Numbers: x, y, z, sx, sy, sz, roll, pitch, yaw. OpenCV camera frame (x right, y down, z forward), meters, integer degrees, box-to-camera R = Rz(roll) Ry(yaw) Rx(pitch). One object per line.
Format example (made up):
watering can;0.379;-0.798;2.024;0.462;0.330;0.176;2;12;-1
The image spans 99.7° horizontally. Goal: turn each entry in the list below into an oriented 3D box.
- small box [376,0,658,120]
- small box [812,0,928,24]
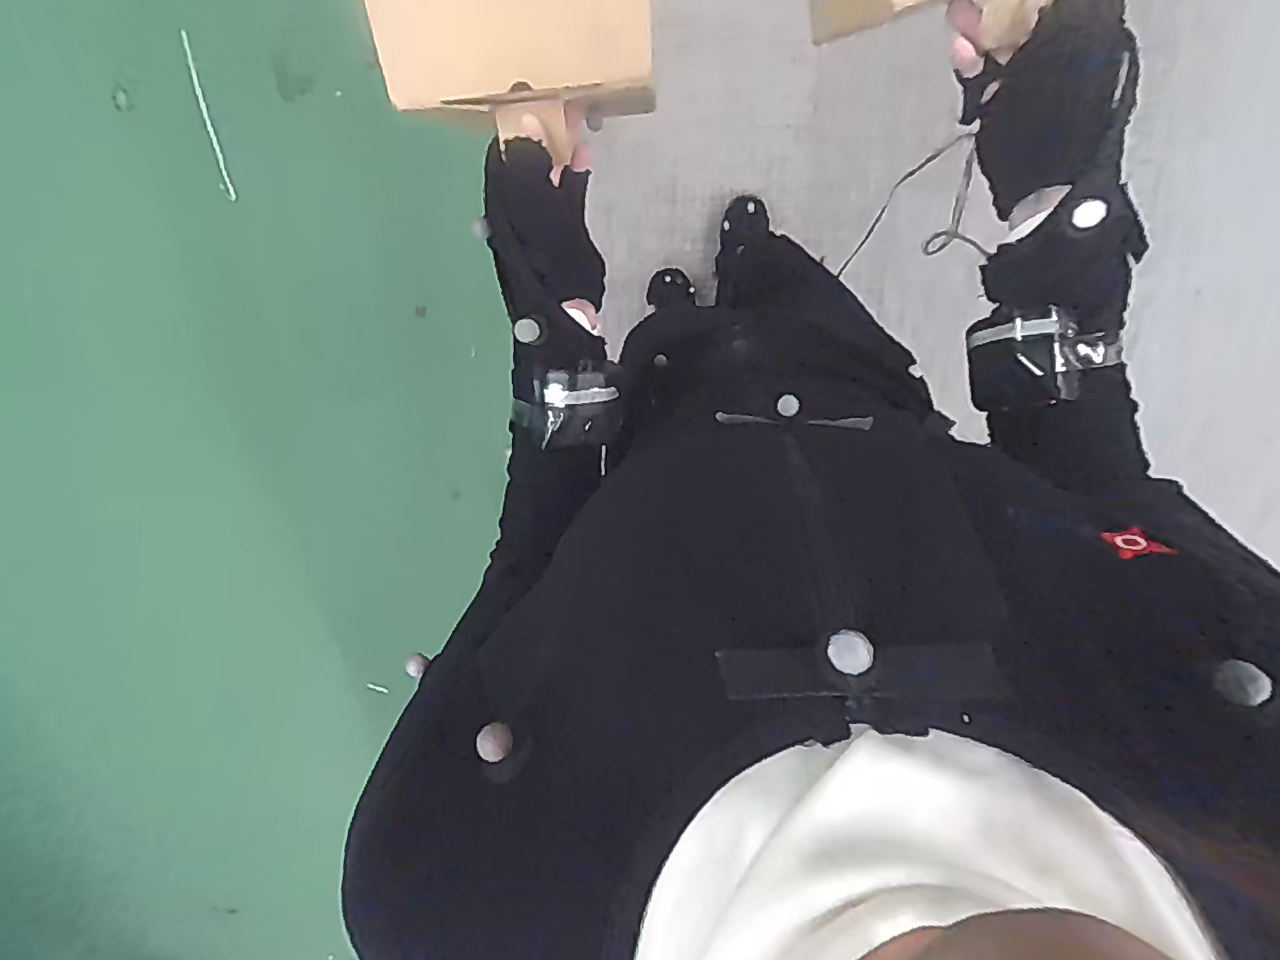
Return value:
small box;-0.075;-0.357;0.364;0.168;0.176;0.179;-4;118;3
small box;0.201;-0.410;0.328;0.168;0.176;0.179;-13;123;6
